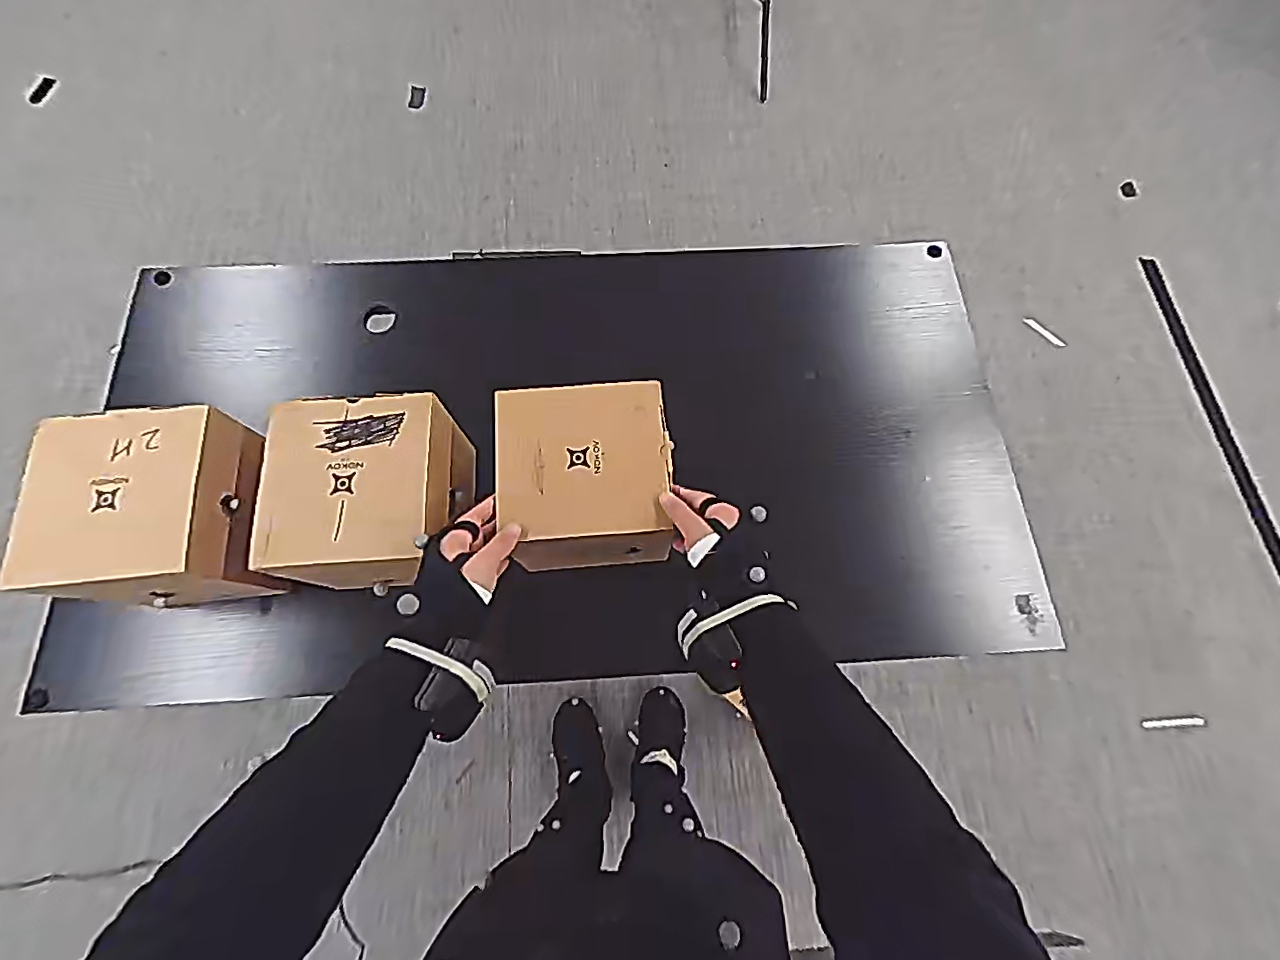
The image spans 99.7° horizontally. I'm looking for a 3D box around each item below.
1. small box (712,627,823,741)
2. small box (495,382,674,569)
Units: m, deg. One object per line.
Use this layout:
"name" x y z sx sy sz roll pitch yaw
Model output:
"small box" 0.282 0.461 1.243 0.168 0.176 0.179 38 76 11
"small box" -0.060 0.004 0.622 0.179 0.176 0.168 -5 71 -2
